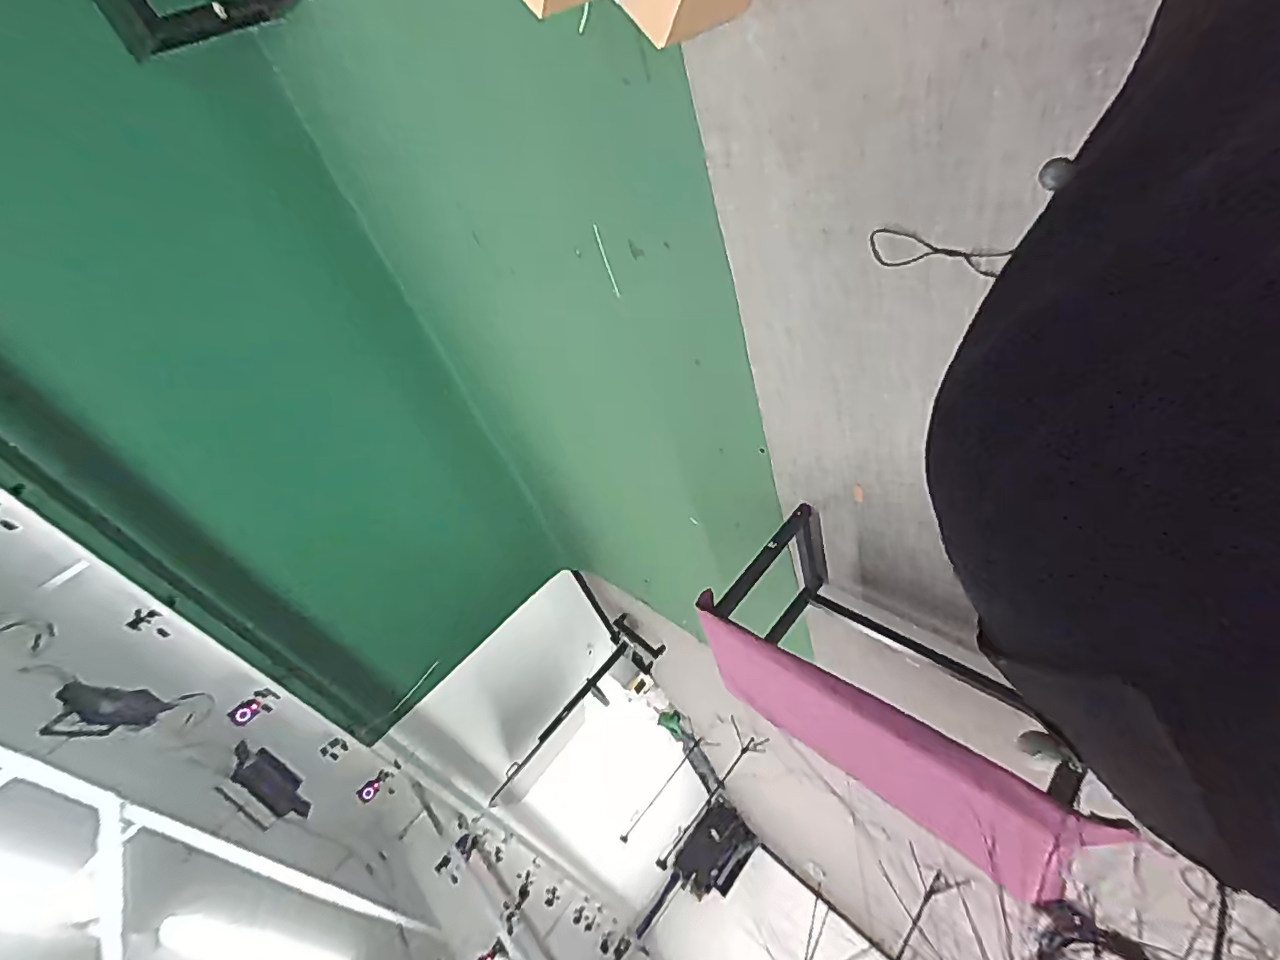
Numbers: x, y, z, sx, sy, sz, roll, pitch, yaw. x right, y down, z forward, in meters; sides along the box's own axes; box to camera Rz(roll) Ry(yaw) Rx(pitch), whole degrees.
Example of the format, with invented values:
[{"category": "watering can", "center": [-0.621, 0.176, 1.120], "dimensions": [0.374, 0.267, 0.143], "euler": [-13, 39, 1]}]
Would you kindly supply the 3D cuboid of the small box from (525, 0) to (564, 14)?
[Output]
[{"category": "small box", "center": [-0.154, -0.960, 0.920], "dimensions": [0.179, 0.176, 0.168], "euler": [47, 157, -2]}]
